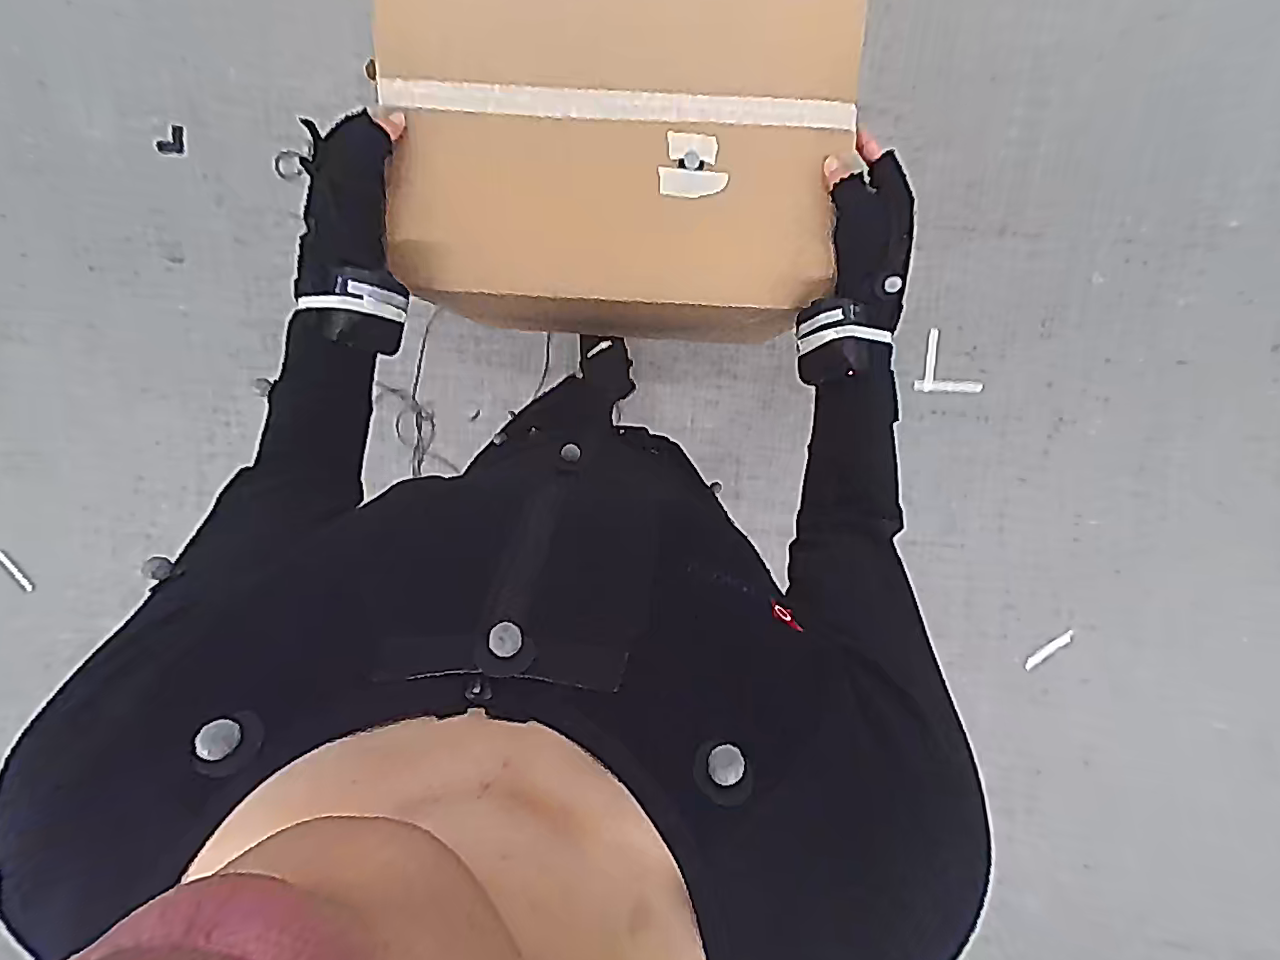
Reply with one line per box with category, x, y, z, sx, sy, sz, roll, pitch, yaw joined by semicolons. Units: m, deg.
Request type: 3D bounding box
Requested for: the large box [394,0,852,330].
large box;-0.019;-0.354;0.627;0.408;0.320;0.320;3;100;-1
